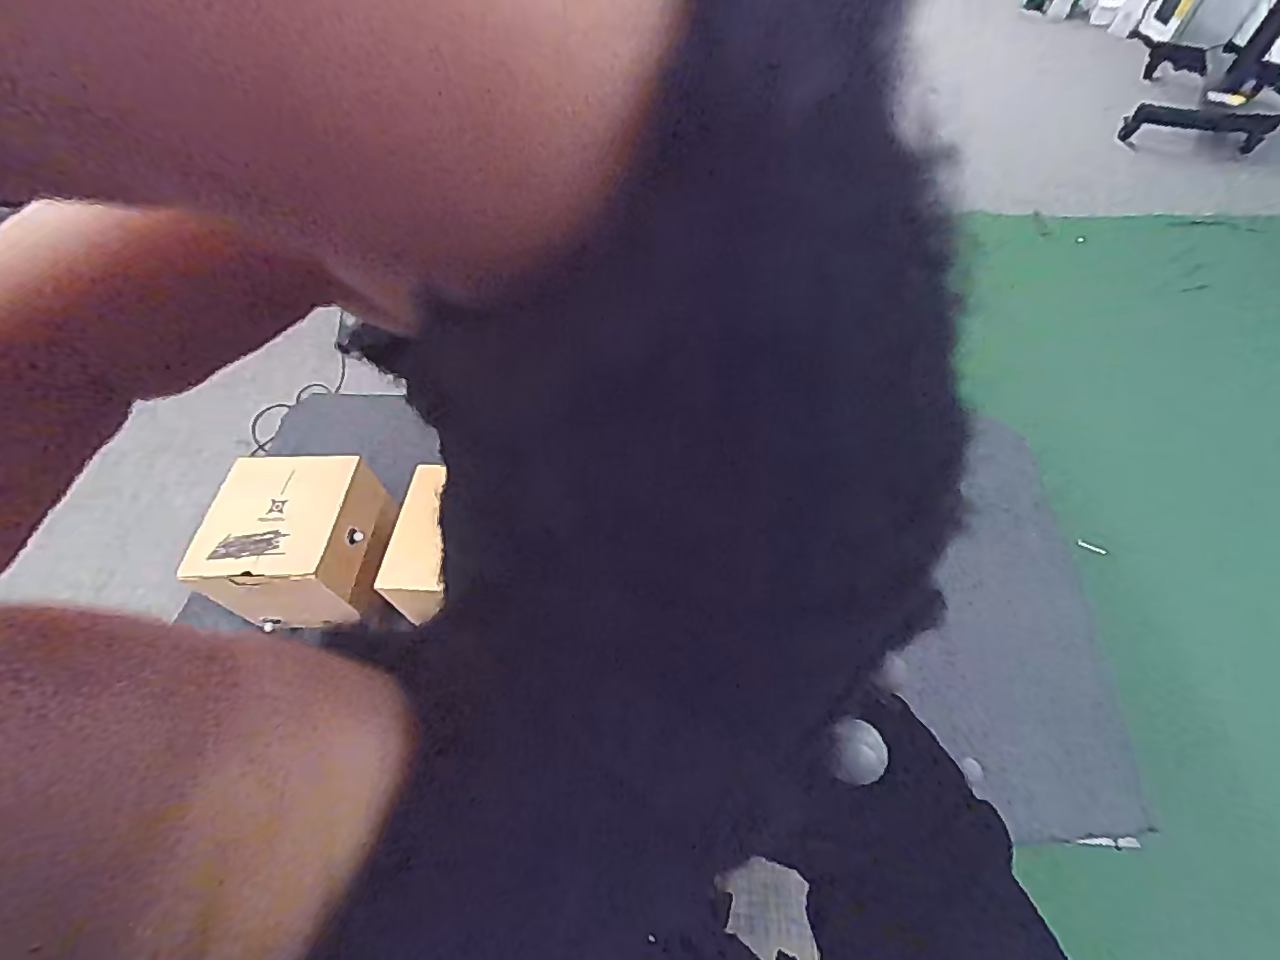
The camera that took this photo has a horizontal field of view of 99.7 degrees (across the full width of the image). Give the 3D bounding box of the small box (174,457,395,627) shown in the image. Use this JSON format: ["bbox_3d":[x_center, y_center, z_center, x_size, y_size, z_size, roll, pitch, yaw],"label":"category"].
[{"bbox_3d":[-0.447,0.089,0.724,0.168,0.176,0.179,-1,54,1],"label":"small box"}]
